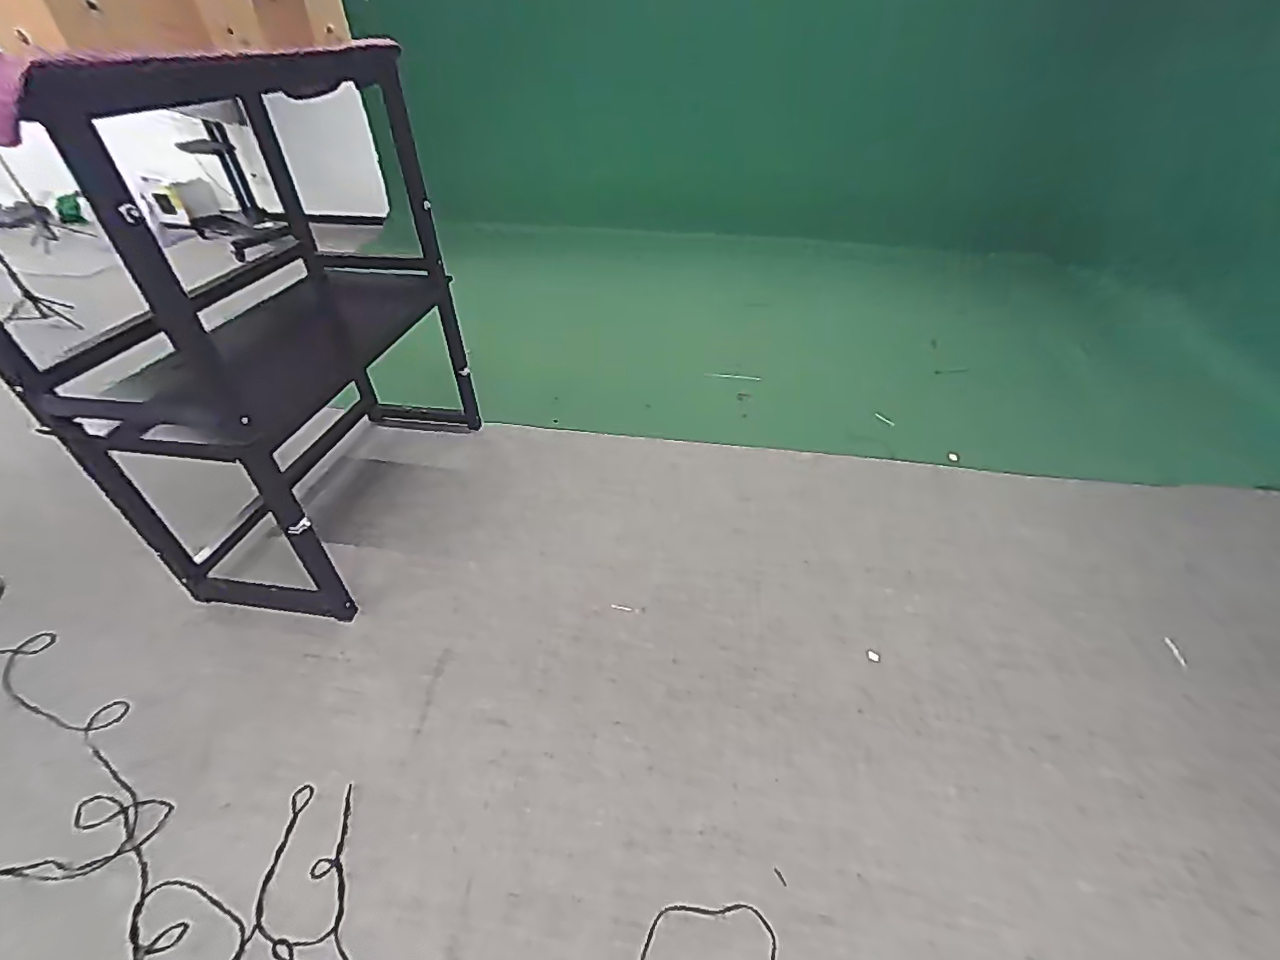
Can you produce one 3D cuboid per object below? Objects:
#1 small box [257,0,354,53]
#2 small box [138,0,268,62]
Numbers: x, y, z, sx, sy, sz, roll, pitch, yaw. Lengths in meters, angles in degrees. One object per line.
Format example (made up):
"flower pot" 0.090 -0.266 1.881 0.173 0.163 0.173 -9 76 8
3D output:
"small box" -0.980 -1.353 1.573 0.179 0.176 0.168 9 42 10
"small box" -1.046 -1.104 1.285 0.179 0.176 0.168 7 41 10
